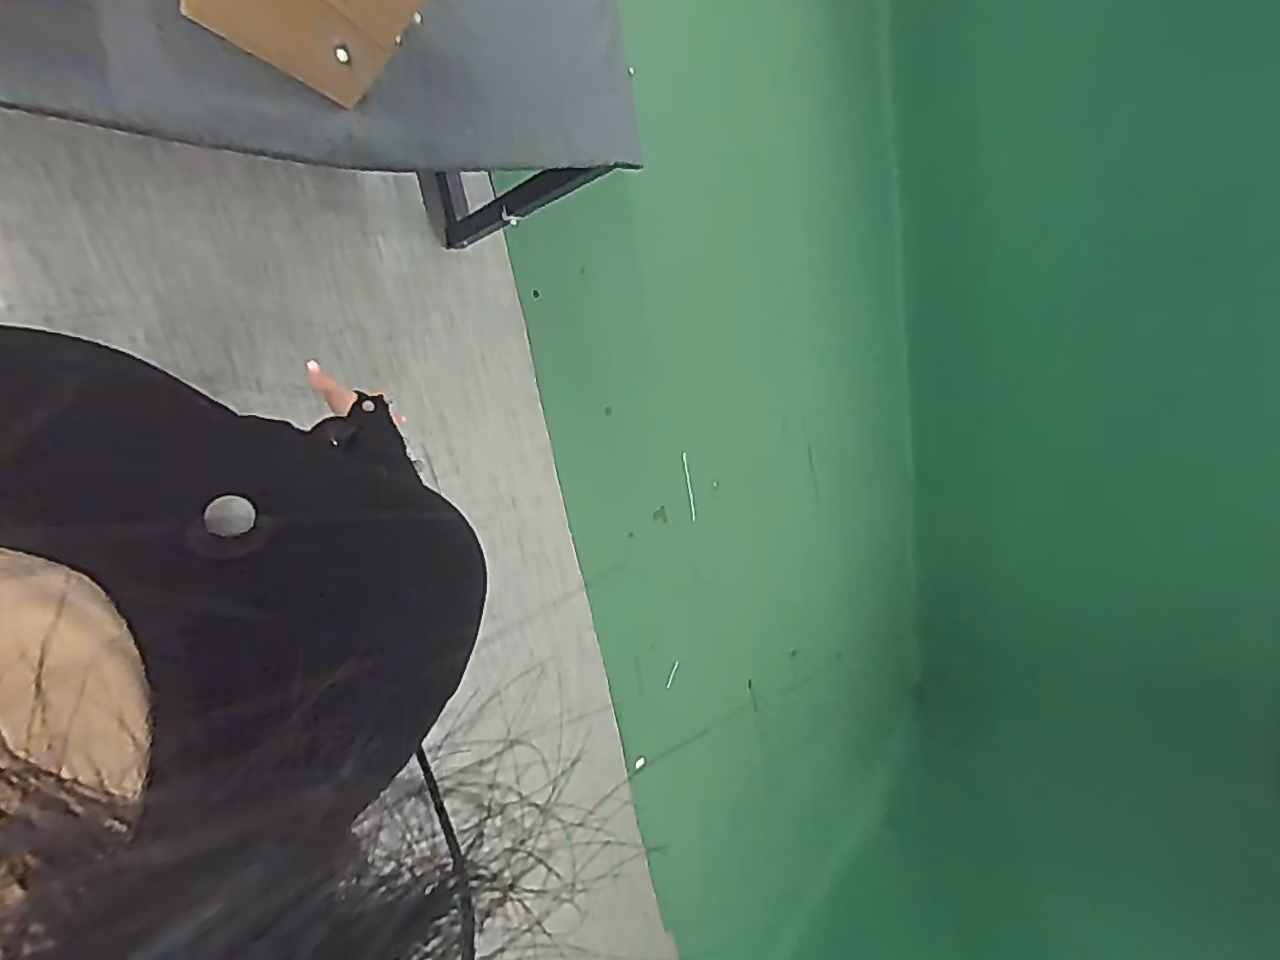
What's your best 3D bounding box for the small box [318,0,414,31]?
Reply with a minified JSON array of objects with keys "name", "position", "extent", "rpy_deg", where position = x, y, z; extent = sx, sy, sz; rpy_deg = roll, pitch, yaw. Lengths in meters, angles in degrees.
[{"name":"small box","position":[-0.259,-0.552,0.474],"extent":[0.179,0.176,0.168],"rpy_deg":[22,78,-43]}]
